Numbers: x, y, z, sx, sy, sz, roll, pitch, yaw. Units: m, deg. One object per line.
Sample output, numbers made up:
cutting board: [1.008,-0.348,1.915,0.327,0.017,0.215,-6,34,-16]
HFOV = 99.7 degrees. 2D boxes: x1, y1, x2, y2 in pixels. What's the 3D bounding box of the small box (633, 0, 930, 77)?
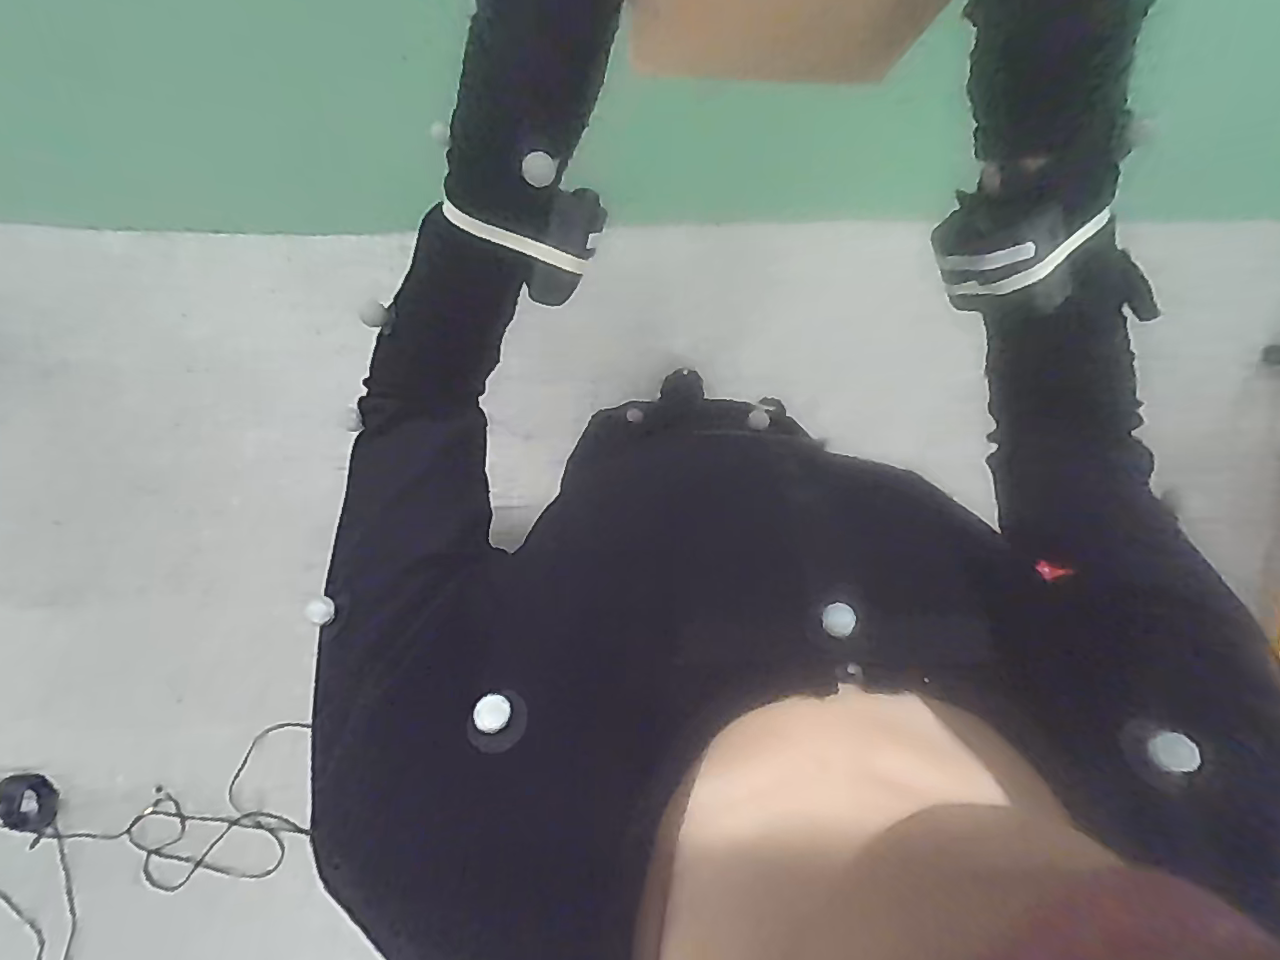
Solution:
small box: [0.085,-0.344,0.280,0.179,0.176,0.168,1,101,-2]
